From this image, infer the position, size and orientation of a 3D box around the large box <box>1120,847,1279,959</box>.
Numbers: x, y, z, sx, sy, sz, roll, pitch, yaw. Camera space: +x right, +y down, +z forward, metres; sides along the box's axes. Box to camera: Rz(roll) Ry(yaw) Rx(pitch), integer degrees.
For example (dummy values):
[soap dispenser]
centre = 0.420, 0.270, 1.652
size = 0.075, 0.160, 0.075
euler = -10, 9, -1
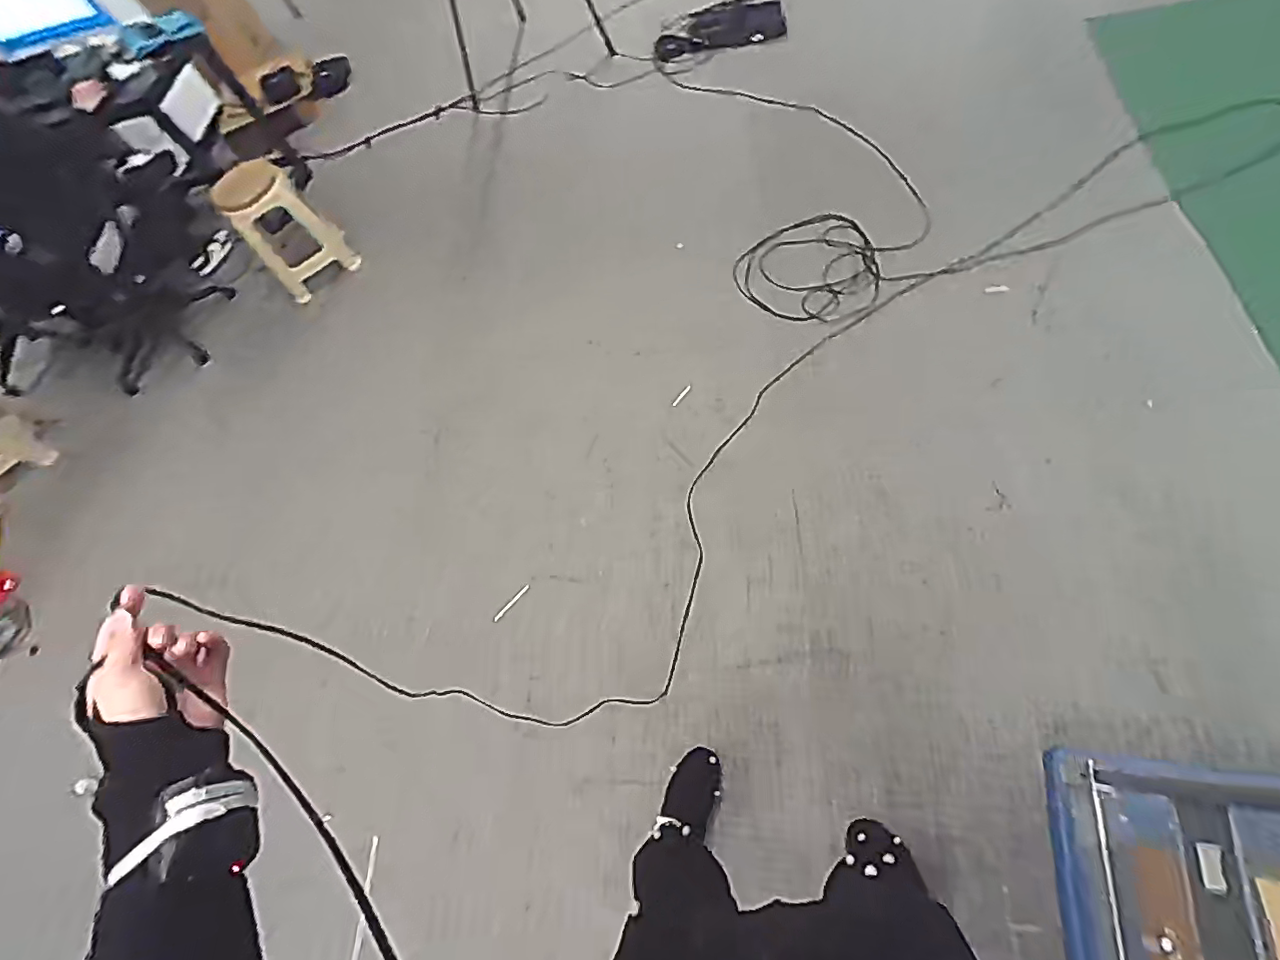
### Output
[large box]
centre = 1.044, 0.761, 0.781
size = 0.408, 0.320, 0.320
euler = 2, 65, 14
